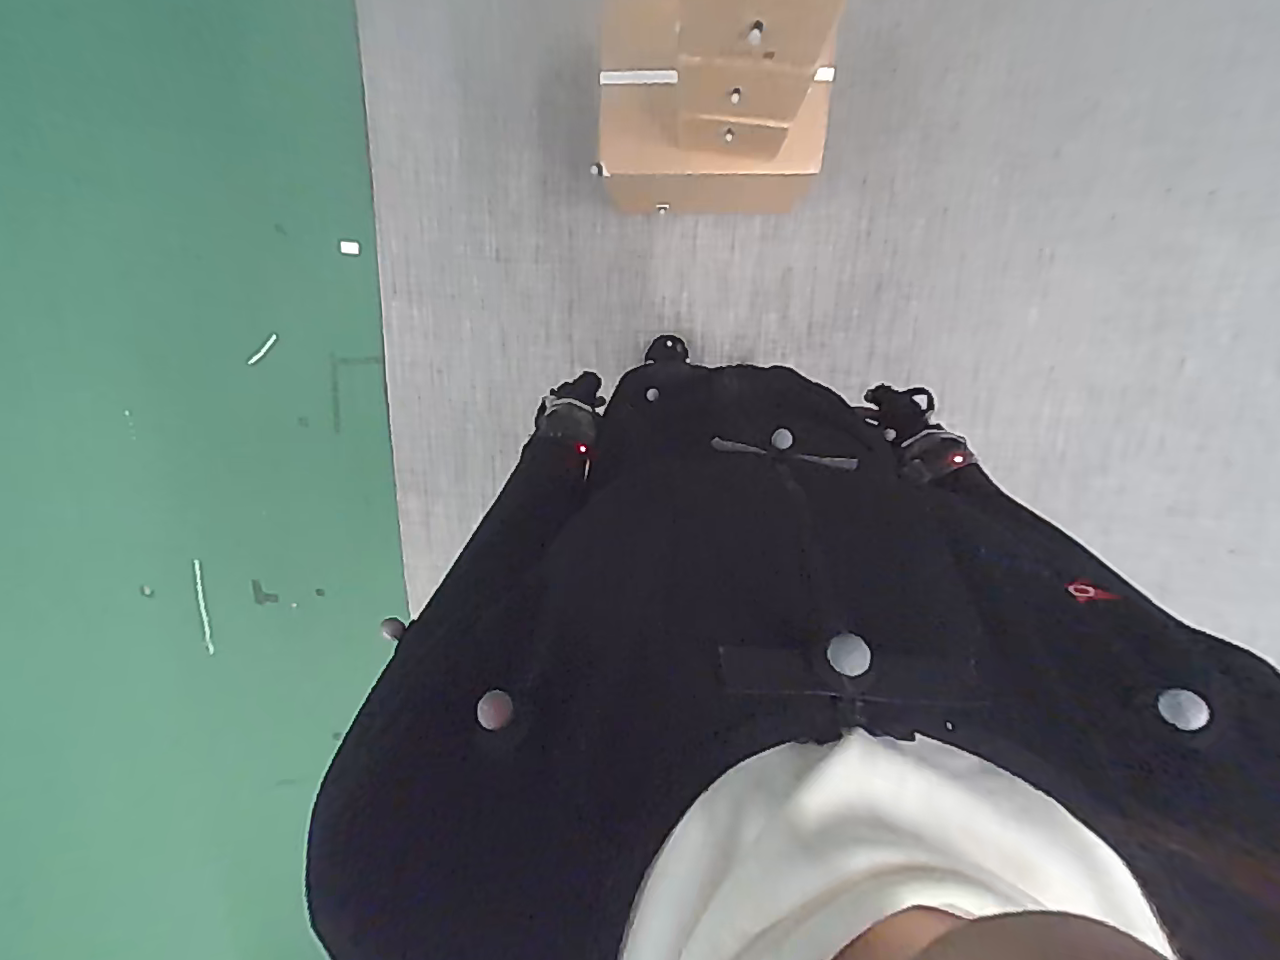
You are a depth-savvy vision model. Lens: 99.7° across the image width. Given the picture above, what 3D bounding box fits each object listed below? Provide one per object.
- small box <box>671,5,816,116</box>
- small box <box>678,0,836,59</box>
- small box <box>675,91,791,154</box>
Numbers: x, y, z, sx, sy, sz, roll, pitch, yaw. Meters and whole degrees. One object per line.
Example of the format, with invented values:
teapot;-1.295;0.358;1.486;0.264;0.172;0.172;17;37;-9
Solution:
small box;0.143;-0.610;0.719;0.179;0.176;0.168;9;107;5
small box;0.132;-0.575;0.559;0.168;0.176;0.179;8;107;3
small box;0.155;-0.650;0.877;0.179;0.176;0.168;8;107;2
